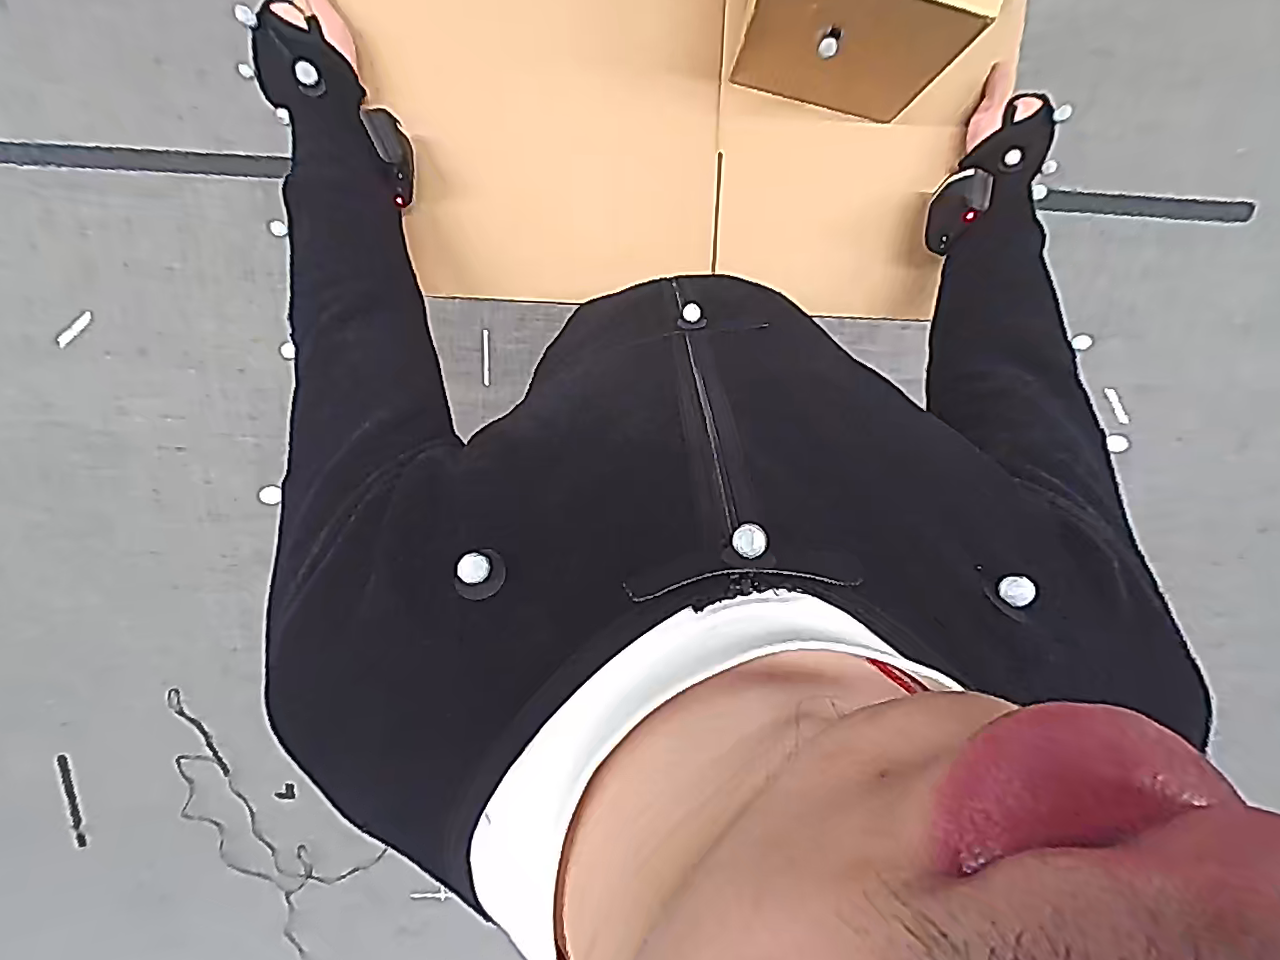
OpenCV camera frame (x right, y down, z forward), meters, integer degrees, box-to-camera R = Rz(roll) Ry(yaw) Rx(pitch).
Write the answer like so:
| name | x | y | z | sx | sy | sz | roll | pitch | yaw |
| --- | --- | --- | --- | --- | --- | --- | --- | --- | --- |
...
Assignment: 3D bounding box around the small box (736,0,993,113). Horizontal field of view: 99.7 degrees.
| name | x | y | z | sx | sy | sz | roll | pitch | yaw |
| --- | --- | --- | --- | --- | --- | --- | --- | --- | --- |
| small box | 0.193 | -0.453 | 0.463 | 0.179 | 0.176 | 0.168 | 13 | 101 | -3 |
